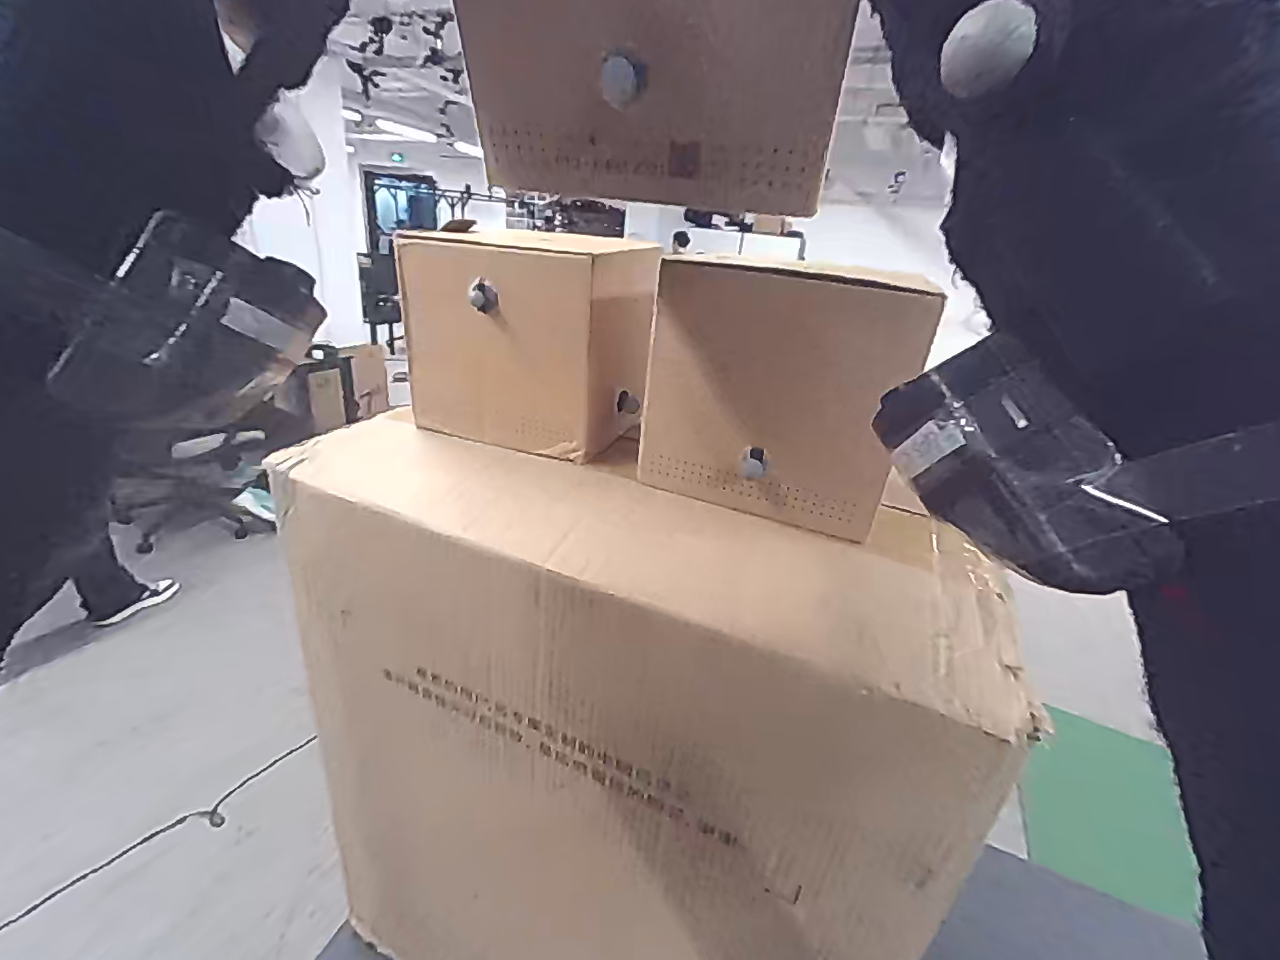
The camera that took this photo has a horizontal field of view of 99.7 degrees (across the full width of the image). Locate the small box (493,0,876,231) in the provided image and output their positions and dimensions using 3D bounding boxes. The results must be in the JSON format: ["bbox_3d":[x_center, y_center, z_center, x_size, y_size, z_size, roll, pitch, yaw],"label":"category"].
[{"bbox_3d":[0.031,-0.247,0.270,0.168,0.176,0.179,12,46,12],"label":"small box"}]

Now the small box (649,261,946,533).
[{"bbox_3d":[0.120,-0.075,0.438,0.179,0.176,0.168,14,26,18],"label":"small box"}]

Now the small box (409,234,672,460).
[{"bbox_3d":[-0.084,-0.131,0.508,0.179,0.176,0.168,14,28,16],"label":"small box"}]
